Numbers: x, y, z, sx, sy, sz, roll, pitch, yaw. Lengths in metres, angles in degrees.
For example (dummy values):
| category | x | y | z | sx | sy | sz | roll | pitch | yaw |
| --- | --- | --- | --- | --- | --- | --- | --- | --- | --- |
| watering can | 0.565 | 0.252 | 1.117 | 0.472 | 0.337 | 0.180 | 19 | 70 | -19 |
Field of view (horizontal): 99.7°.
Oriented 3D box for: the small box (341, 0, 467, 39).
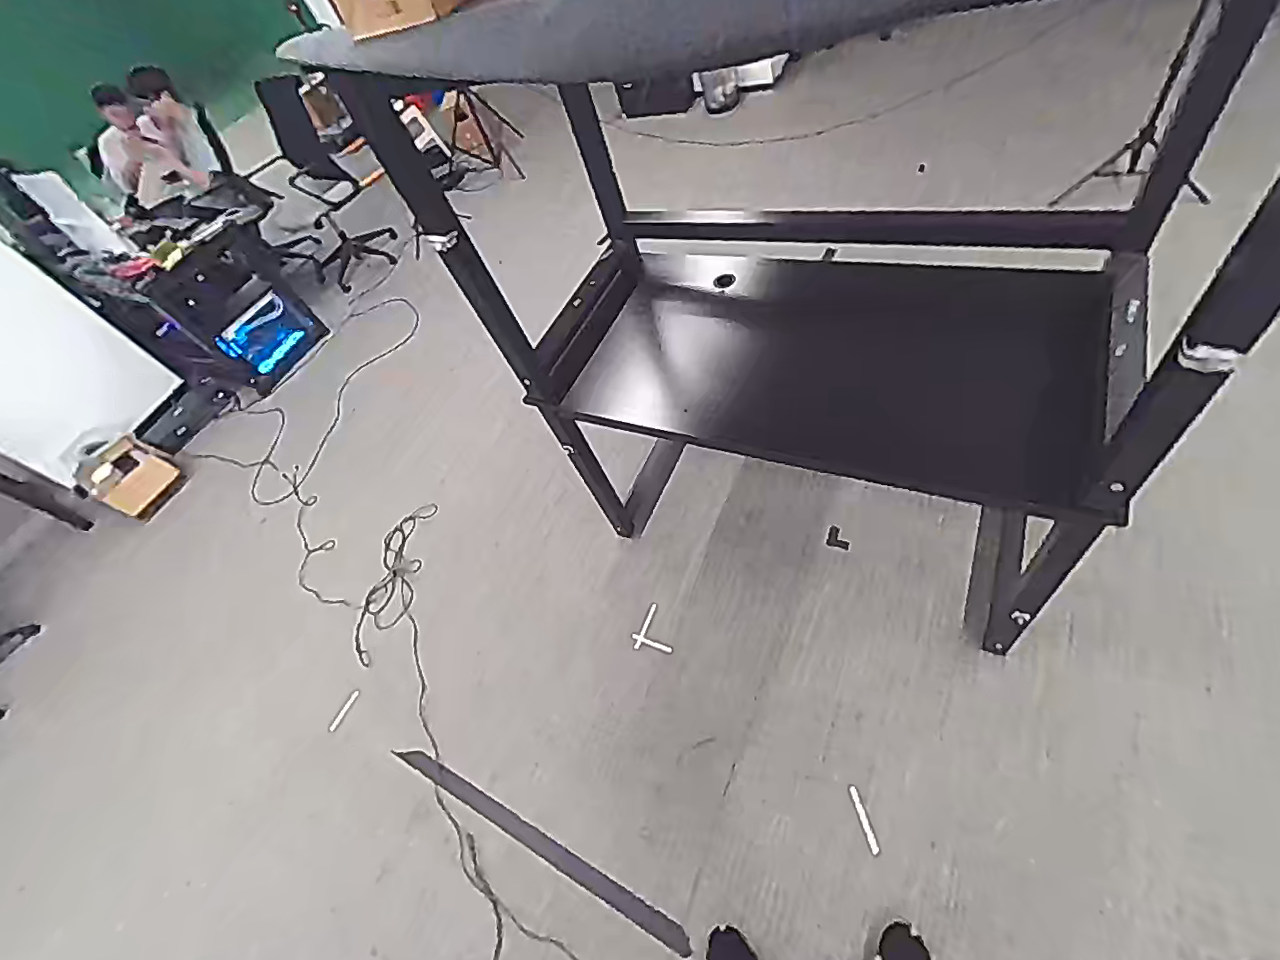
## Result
| category | x | y | z | sx | sy | sz | roll | pitch | yaw |
| --- | --- | --- | --- | --- | --- | --- | --- | --- | --- |
| small box | -0.312 | -0.713 | 0.698 | 0.168 | 0.176 | 0.179 | 11 | 61 | 25 |
